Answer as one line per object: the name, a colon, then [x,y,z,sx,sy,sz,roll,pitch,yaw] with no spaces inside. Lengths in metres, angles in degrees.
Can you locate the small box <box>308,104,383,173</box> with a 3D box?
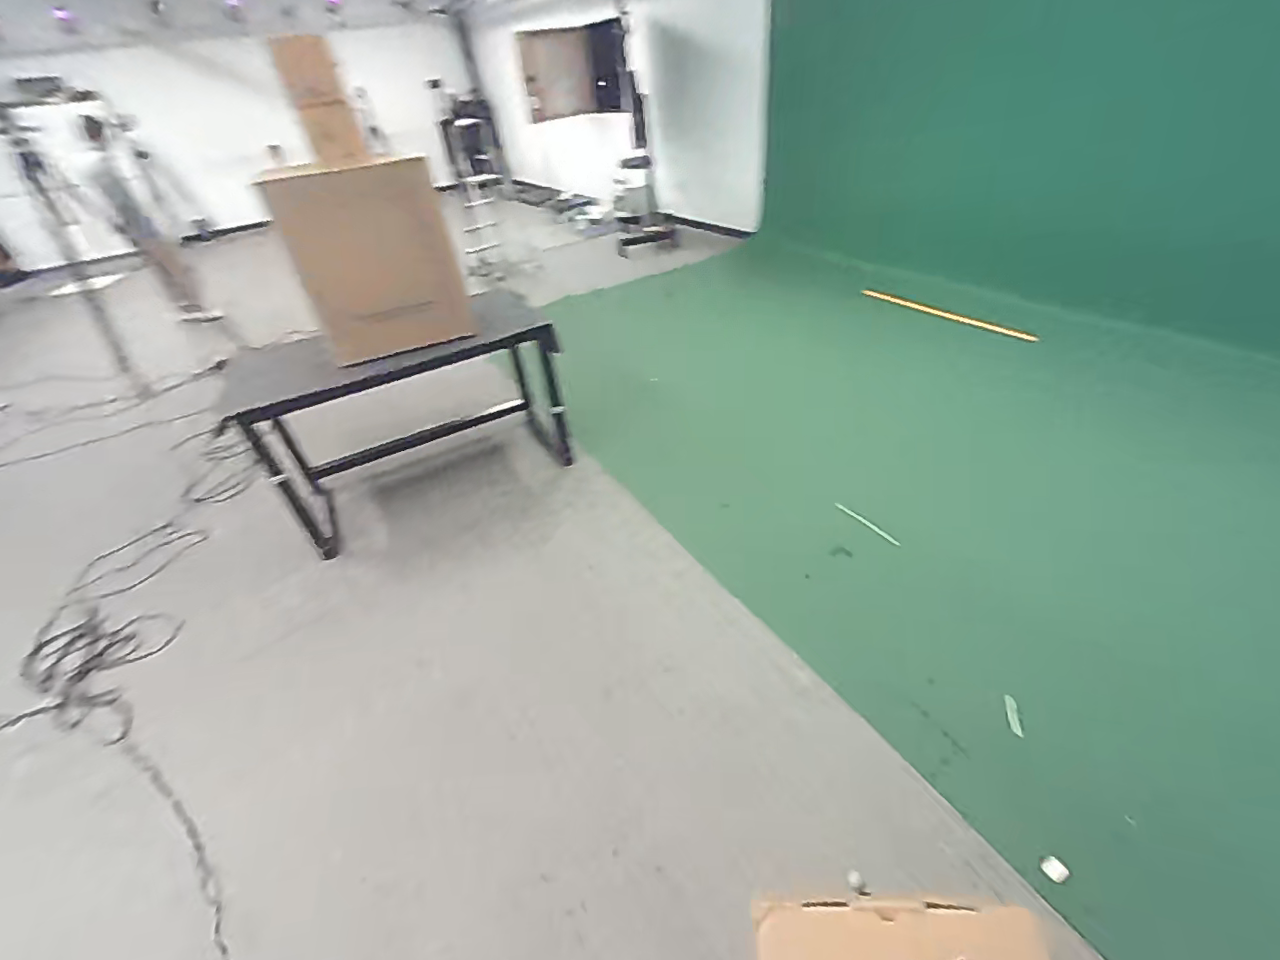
small box: [-0.955,-1.116,1.769,0.168,0.176,0.179,-17,40,-13]
